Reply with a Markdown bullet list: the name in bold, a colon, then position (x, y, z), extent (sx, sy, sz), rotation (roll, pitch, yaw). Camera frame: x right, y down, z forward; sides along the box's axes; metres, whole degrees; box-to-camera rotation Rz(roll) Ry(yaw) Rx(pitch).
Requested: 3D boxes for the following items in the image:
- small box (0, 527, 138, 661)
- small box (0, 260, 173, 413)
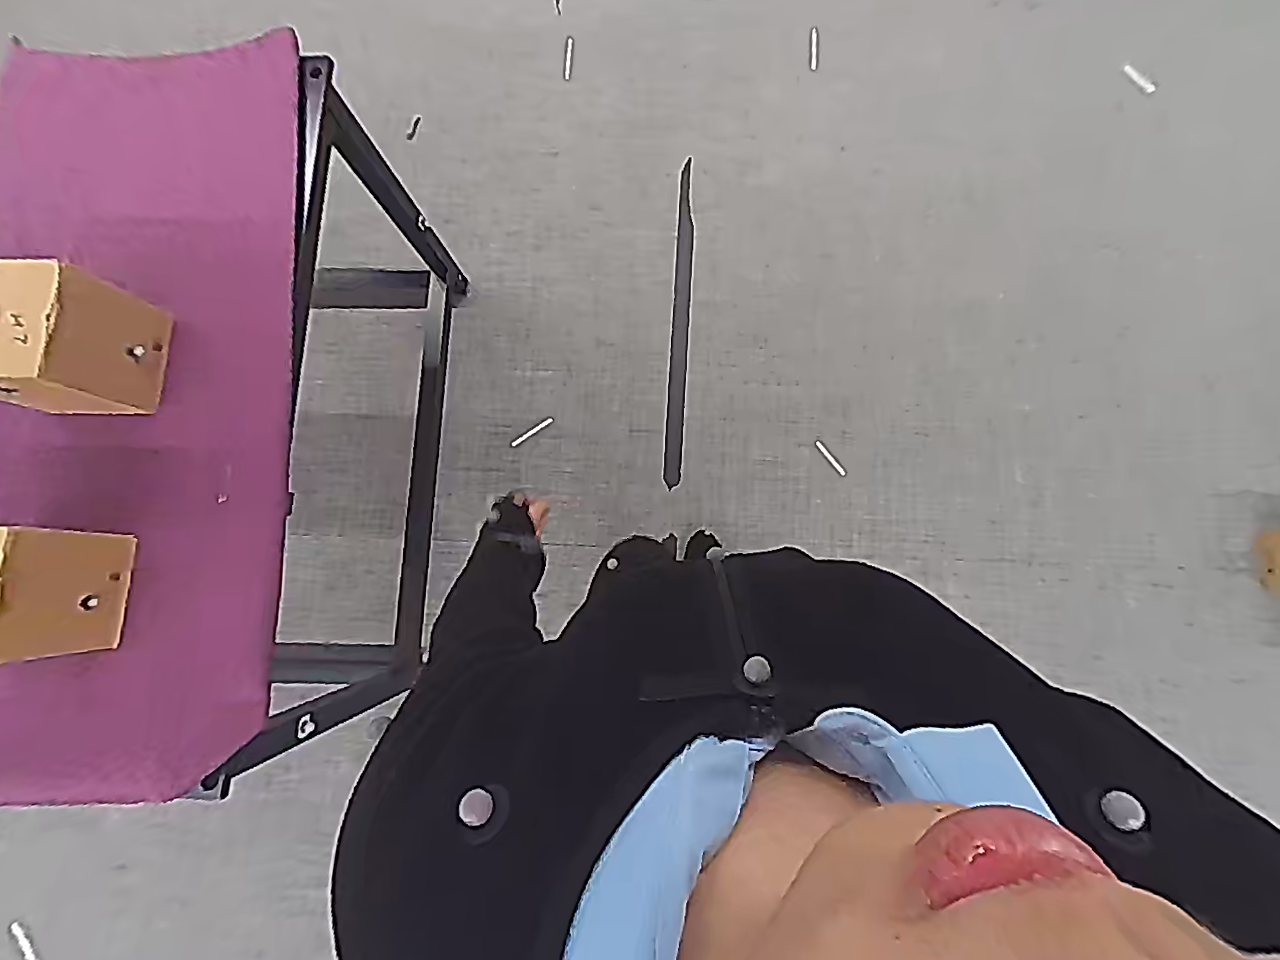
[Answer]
- **small box**: position (-0.849, 0.152, 0.728), extent (0.179, 0.176, 0.168), rotation (0, 80, 1)
- **small box**: position (-0.844, -0.197, 0.784), extent (0.179, 0.176, 0.168), rotation (1, 81, 2)
